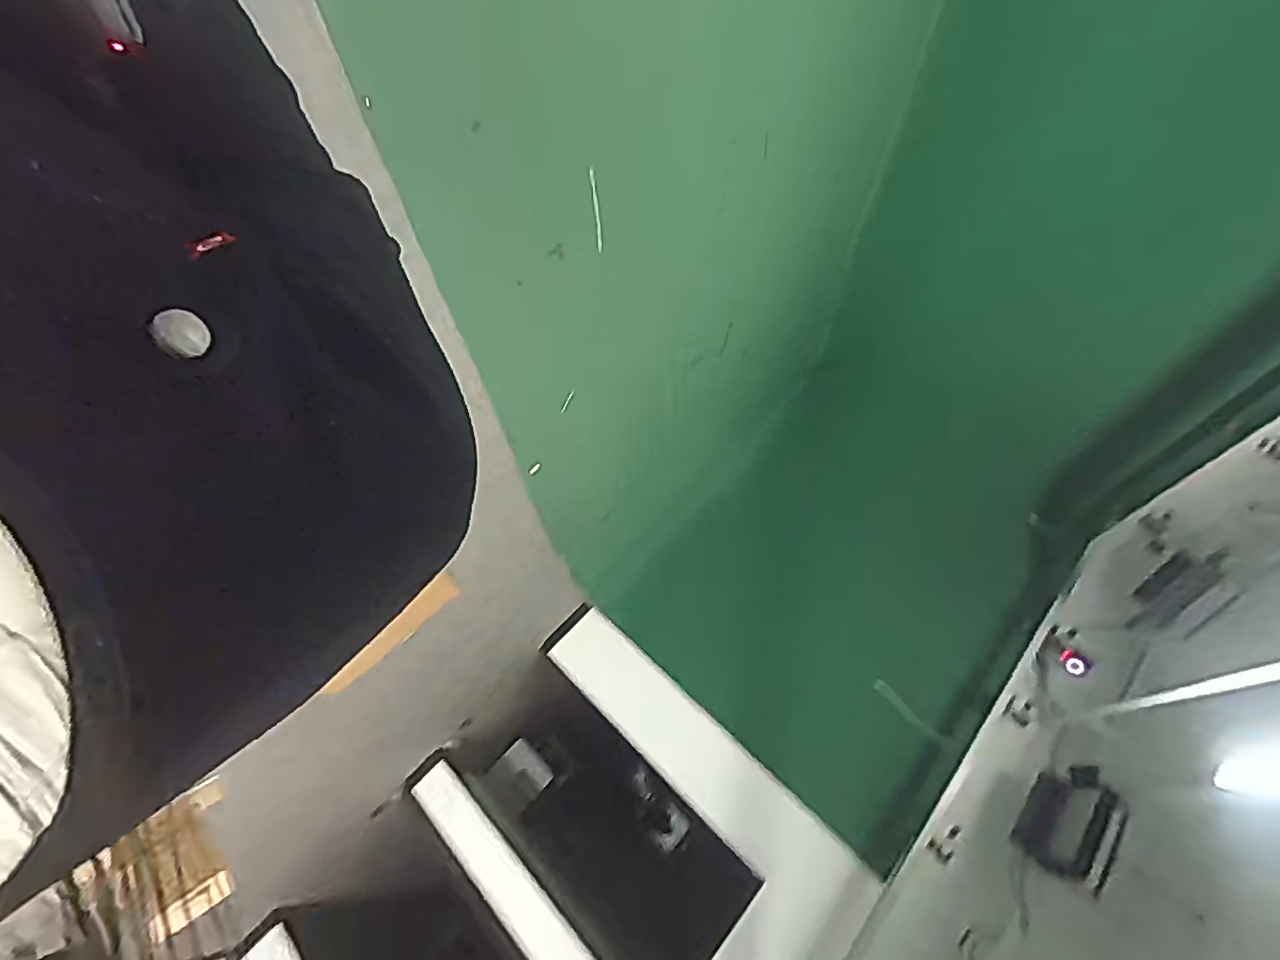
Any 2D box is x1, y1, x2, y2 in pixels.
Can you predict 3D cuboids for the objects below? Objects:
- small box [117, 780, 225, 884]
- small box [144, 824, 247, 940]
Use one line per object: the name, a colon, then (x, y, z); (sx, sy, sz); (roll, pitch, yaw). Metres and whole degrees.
small box: (-1.342, 1.008, 1.551); (0.179, 0.176, 0.168); (-28, 147, -41)
small box: (-1.214, 1.091, 1.480); (0.168, 0.176, 0.179); (-24, 144, -46)
